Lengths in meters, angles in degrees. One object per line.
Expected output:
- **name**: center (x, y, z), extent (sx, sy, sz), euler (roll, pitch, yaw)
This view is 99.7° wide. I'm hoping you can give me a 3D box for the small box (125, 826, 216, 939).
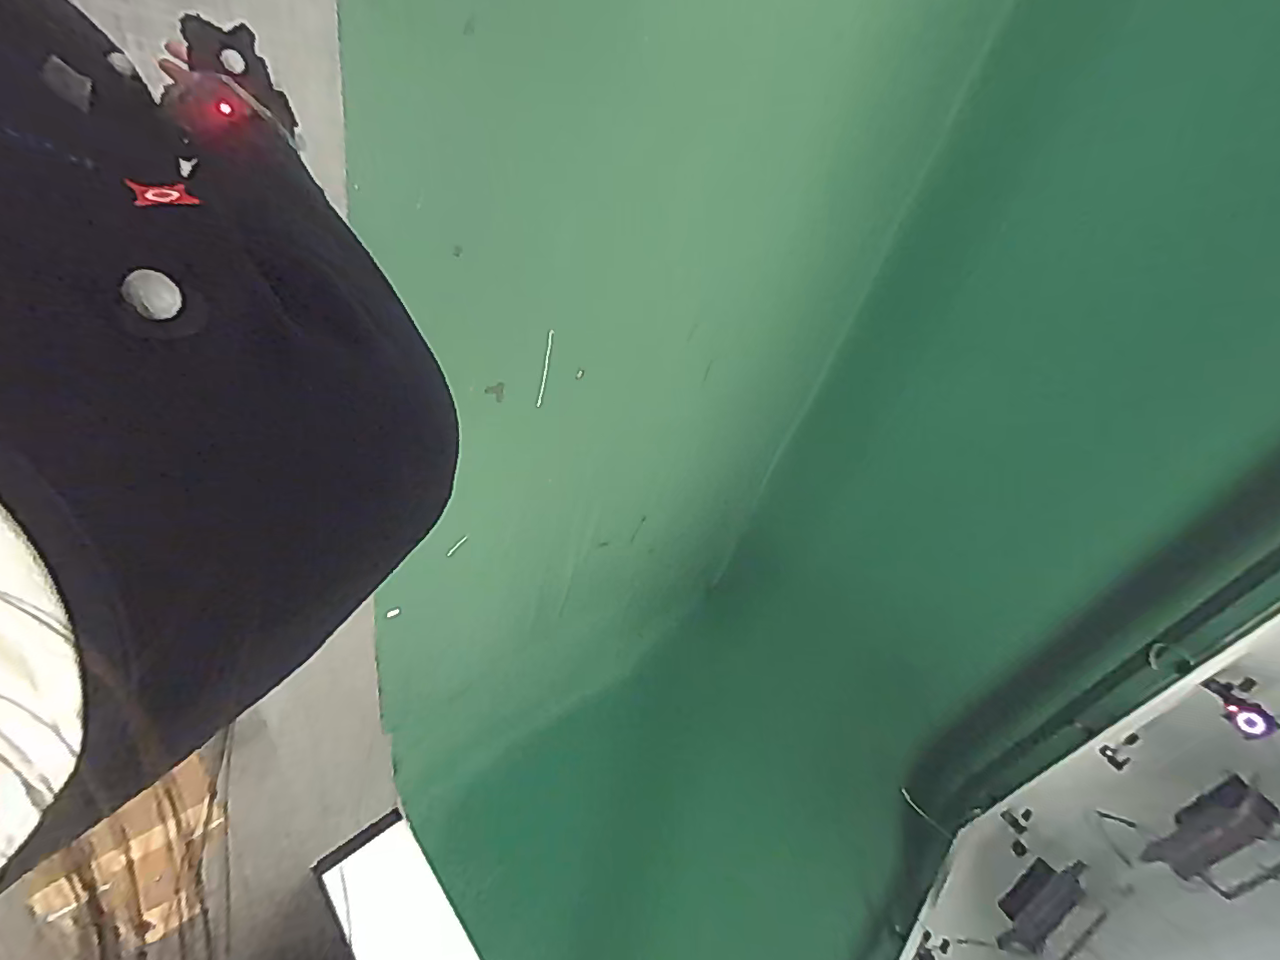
- **small box**: center (-1.406, 1.196, 1.617), extent (0.179, 0.176, 0.168), euler (-17, 133, -45)
